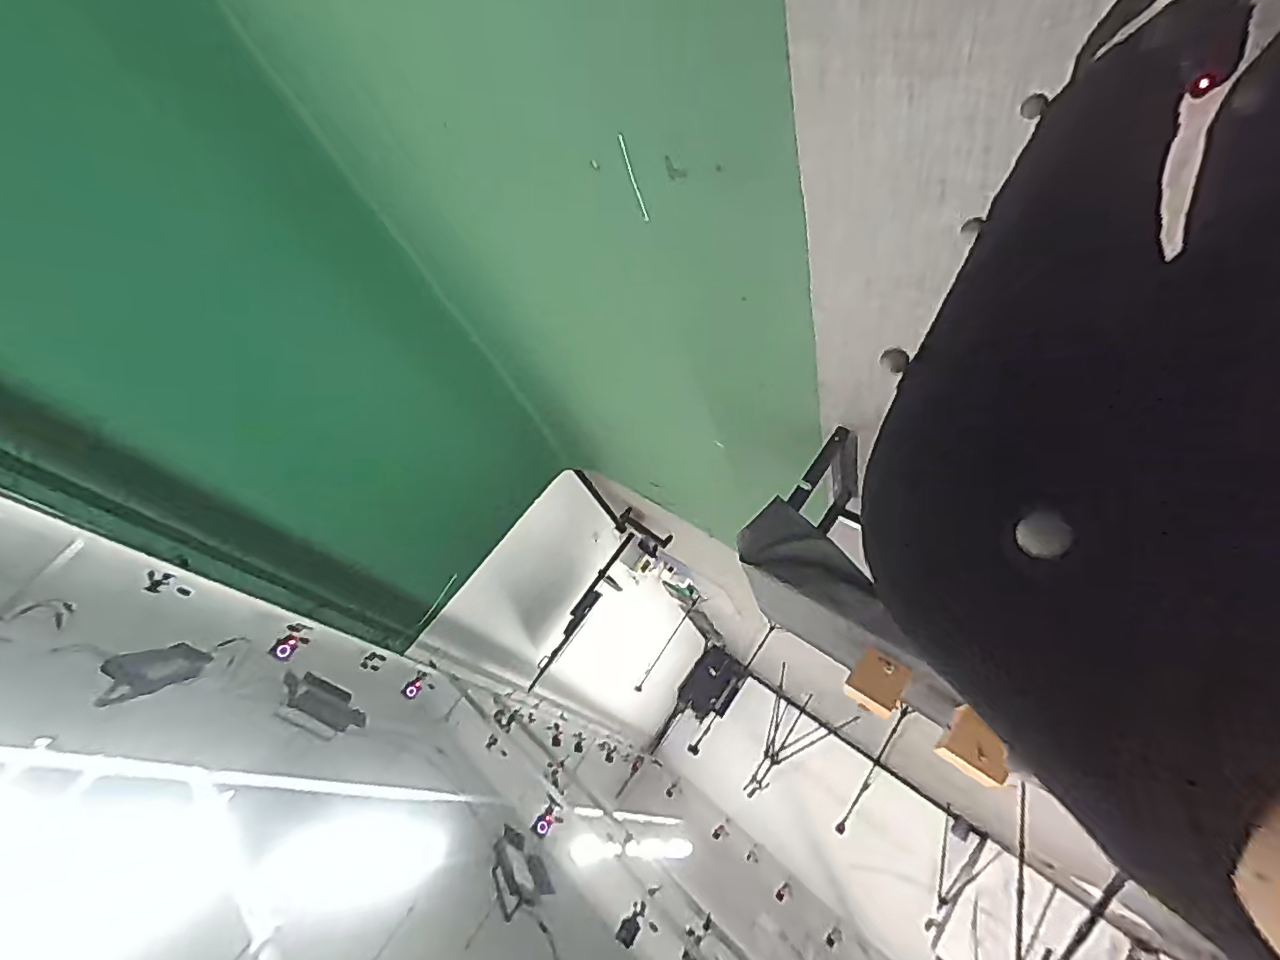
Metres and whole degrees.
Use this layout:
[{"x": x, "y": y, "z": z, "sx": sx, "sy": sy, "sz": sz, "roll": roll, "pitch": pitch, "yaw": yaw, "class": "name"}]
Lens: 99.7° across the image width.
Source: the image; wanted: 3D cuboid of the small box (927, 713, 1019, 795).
[{"x": 1.054, "y": 0.863, "z": 1.716, "sx": 0.179, "sy": 0.176, "sz": 0.168, "roll": 30, "pitch": 162, "yaw": 28, "class": "small box"}]

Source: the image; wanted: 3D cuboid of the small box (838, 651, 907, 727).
[{"x": 0.809, "y": 0.728, "z": 1.885, "sx": 0.168, "sy": 0.176, "sz": 0.179, "roll": 27, "pitch": 160, "yaw": 32, "class": "small box"}]
